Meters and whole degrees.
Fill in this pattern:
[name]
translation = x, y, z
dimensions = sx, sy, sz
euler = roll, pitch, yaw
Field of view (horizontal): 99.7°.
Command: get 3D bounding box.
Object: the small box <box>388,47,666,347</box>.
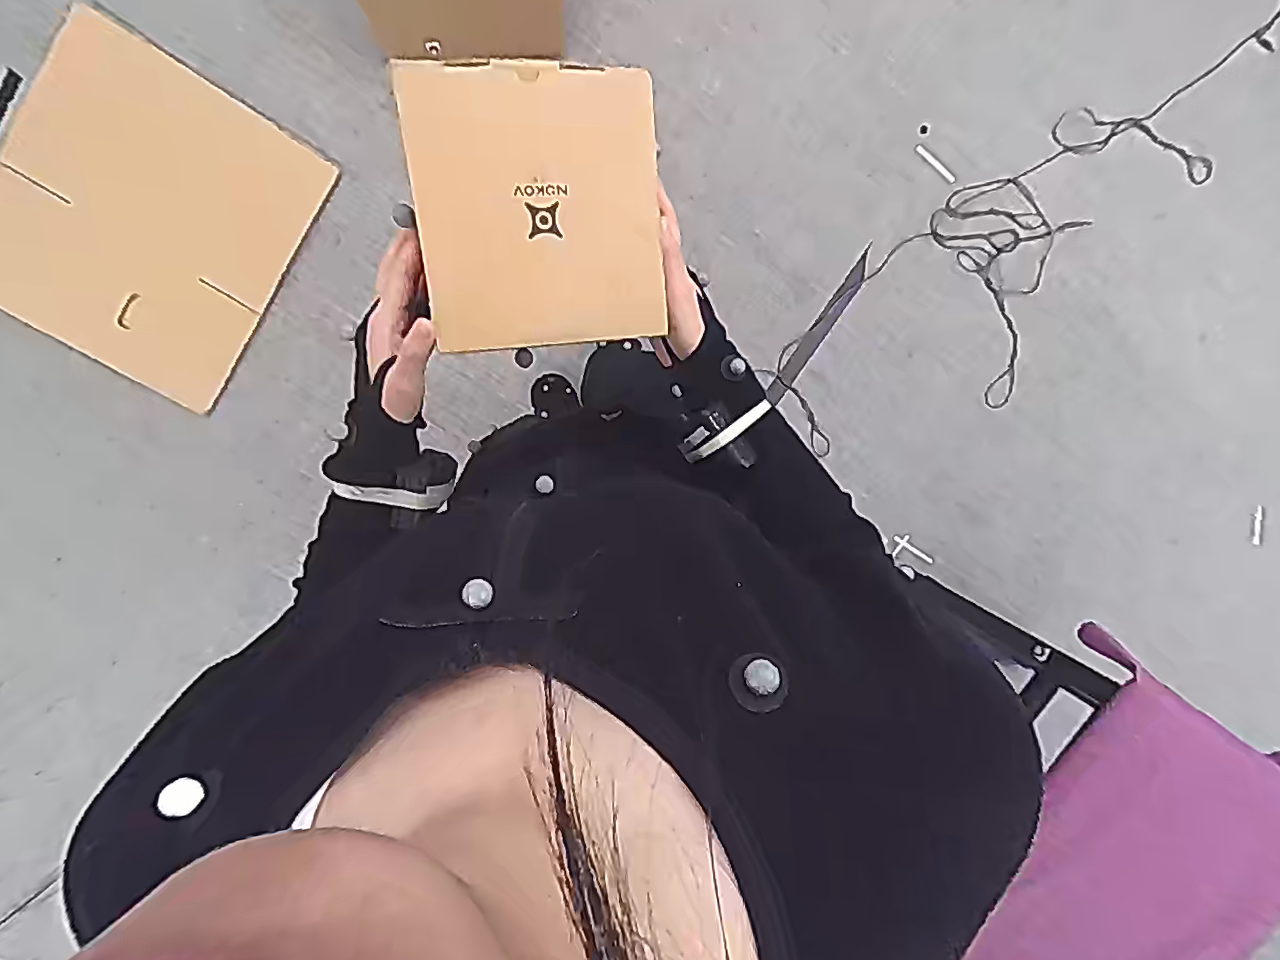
[small box]
translation = -0.084, -0.202, 0.434
dimensions = 0.168, 0.176, 0.179
euler = -8, 104, -13
